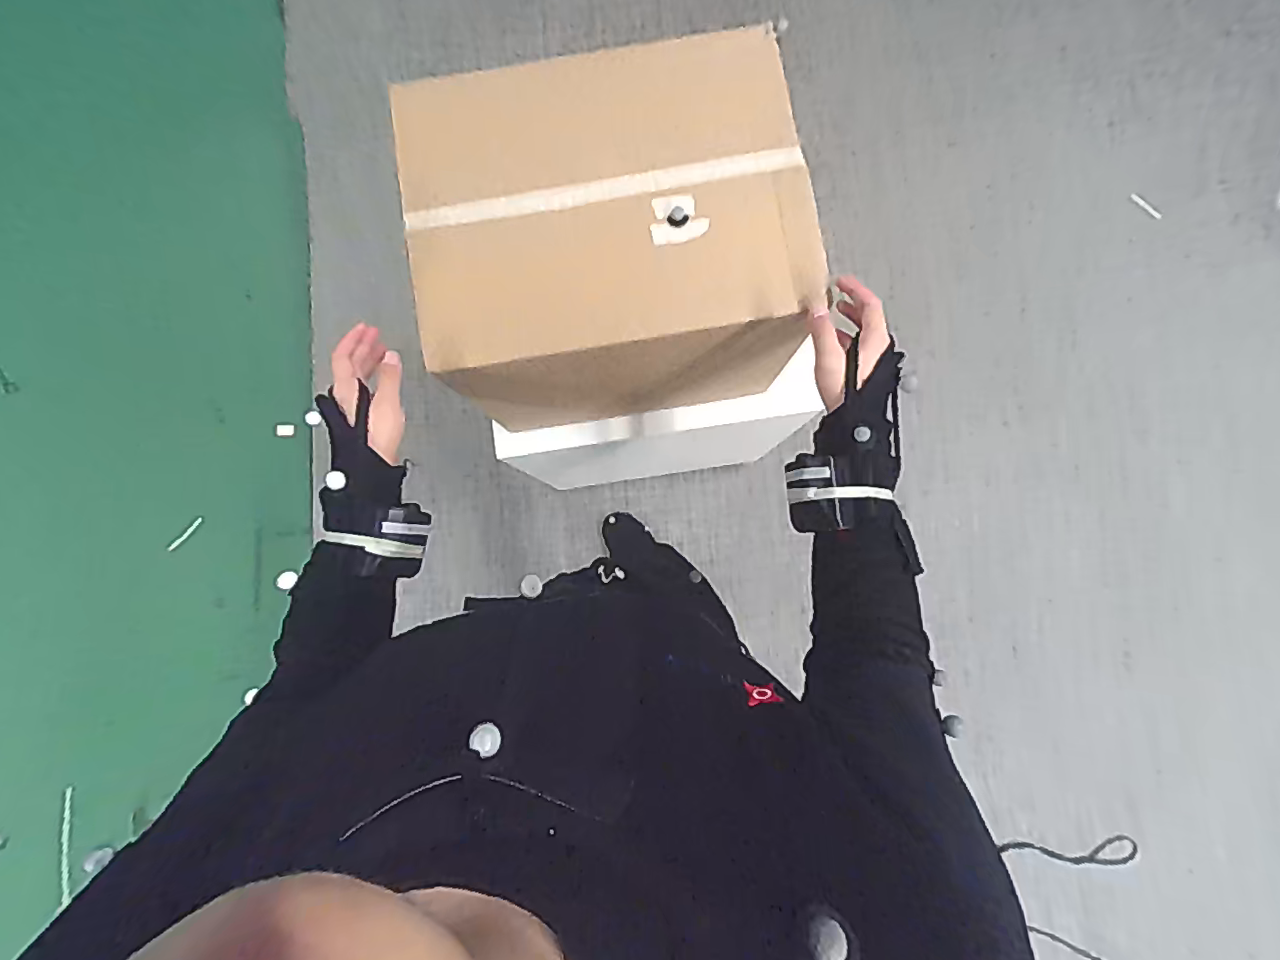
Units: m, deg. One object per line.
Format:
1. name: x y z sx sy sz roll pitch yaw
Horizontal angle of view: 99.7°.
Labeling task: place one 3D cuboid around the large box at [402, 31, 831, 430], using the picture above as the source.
1. large box: -0.031 -0.274 0.697 0.408 0.320 0.320 -10 84 -1
